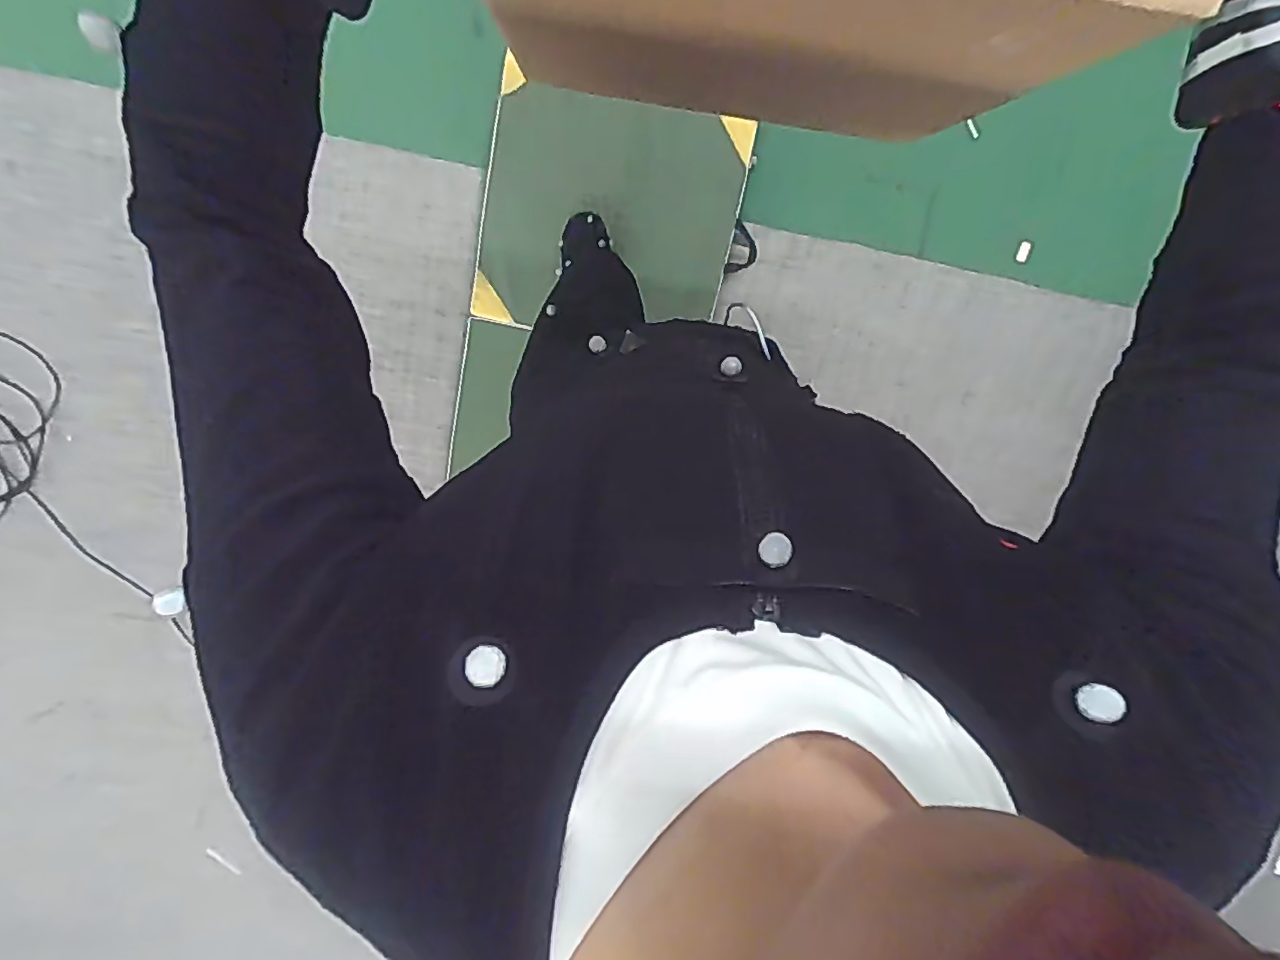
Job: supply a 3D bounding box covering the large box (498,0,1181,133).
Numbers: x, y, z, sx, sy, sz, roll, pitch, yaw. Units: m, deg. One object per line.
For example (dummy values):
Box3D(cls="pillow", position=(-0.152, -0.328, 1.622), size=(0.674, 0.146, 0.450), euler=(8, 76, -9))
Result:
Box3D(cls="large box", position=(0.108, -0.466, 0.361), size=(0.408, 0.320, 0.320), euler=(5, 111, -5))
